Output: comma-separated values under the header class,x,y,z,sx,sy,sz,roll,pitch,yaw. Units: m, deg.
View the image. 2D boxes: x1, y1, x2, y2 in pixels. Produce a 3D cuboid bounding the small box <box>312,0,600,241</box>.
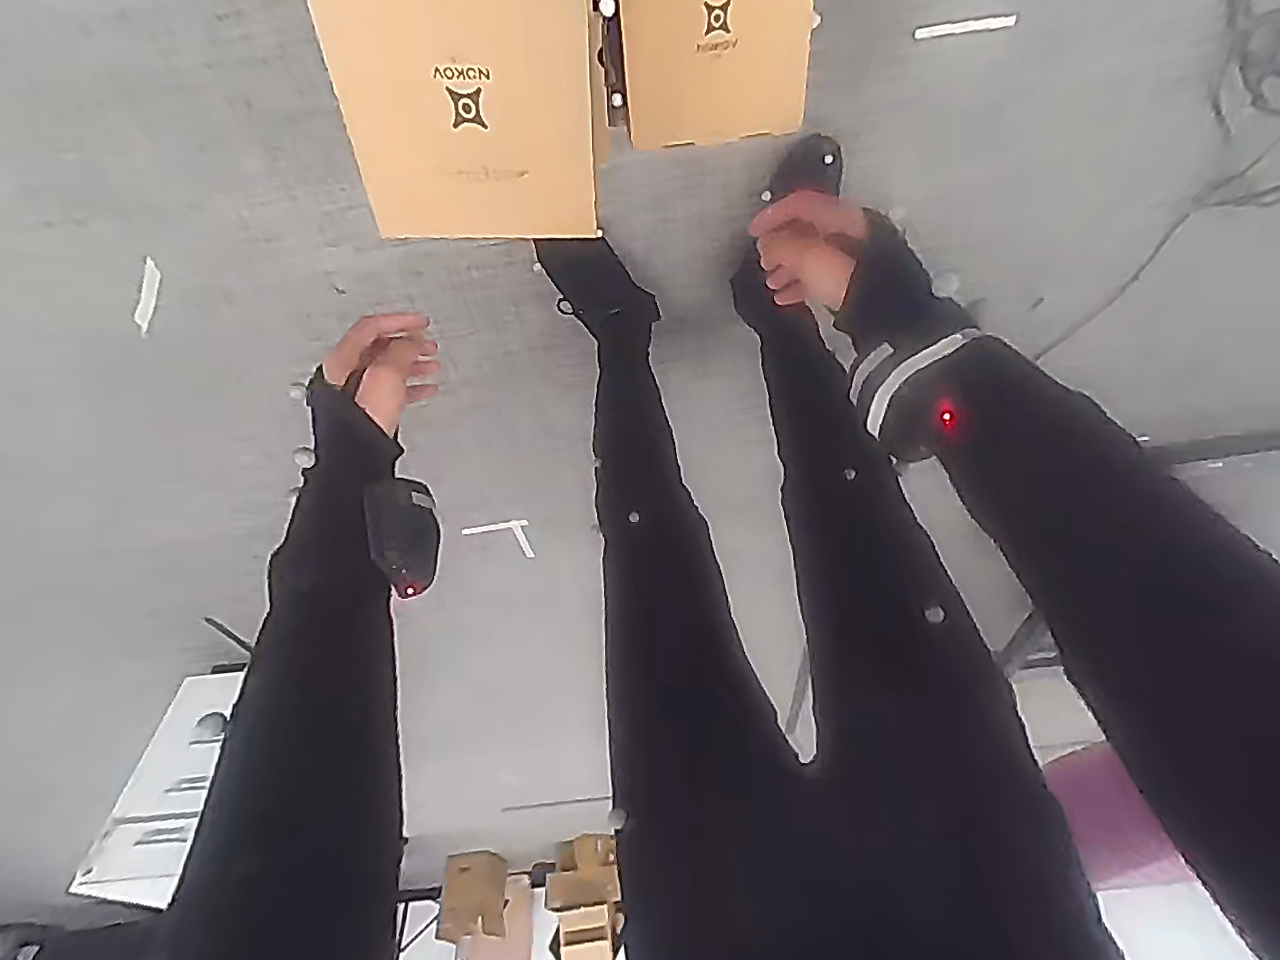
class,x,y,z,sx,sy,sz,roll,pitch,yaw
small box,-0.114,-0.300,0.406,0.168,0.176,0.179,-1,135,-3
